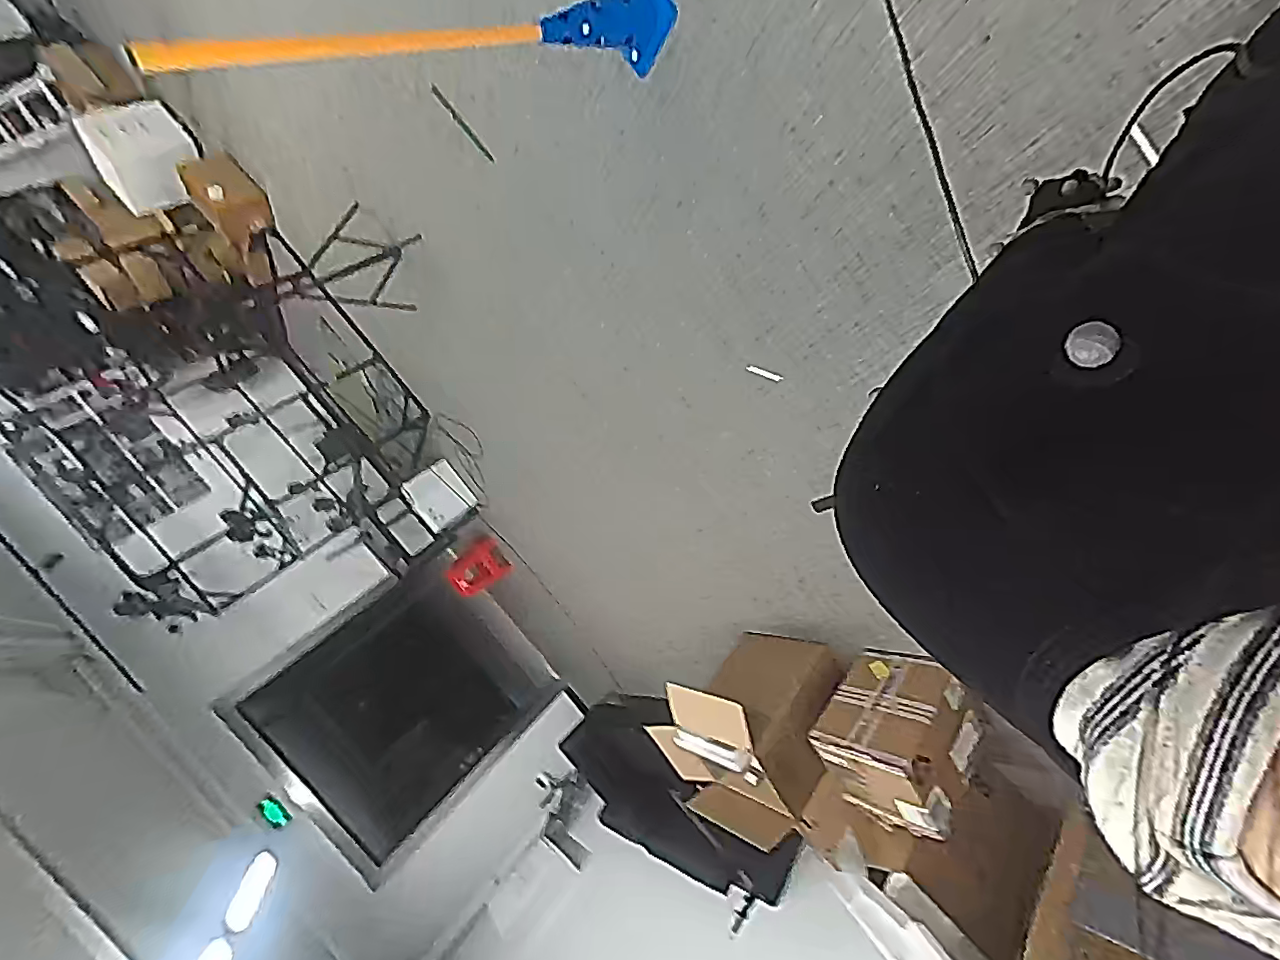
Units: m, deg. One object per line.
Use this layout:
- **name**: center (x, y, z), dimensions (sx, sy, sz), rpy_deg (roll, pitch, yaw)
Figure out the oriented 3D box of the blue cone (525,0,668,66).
- **blue cone**: center (-0.122, -1.139, 1.327), dimensions (0.192, 0.380, 0.193), rpy_deg (54, 148, -6)
